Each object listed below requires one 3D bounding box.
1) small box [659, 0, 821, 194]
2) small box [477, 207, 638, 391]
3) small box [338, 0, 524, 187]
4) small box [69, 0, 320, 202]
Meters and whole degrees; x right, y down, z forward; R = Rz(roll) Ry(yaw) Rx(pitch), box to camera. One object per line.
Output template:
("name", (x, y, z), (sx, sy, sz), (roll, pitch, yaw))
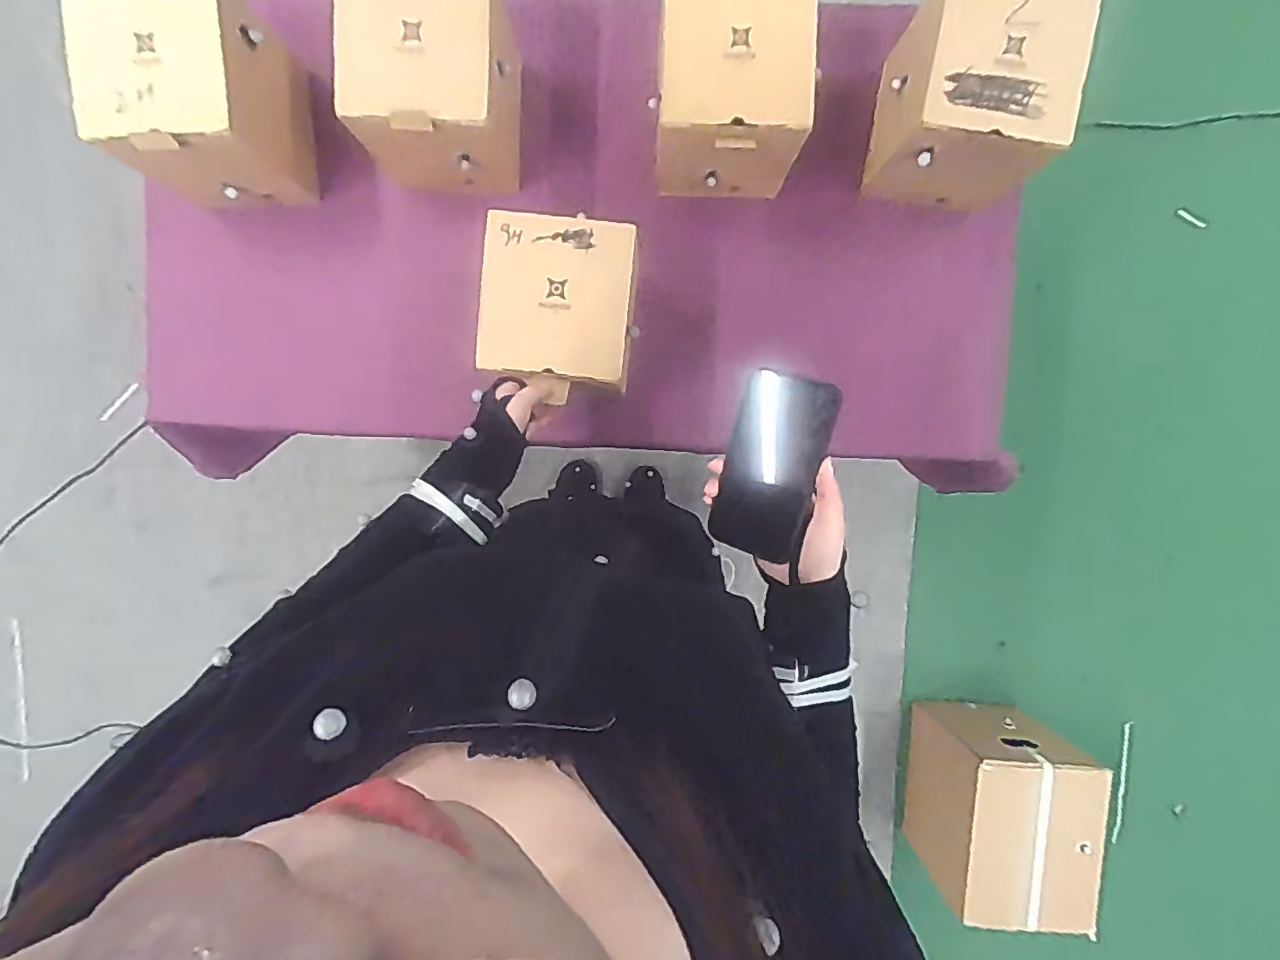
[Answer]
("small box", (0.109, -0.476, 0.655), (0.168, 0.176, 0.179), (1, 95, 0))
("small box", (-0.092, -0.210, 0.675), (0.168, 0.176, 0.179), (6, 95, -1))
("small box", (-0.239, -0.482, 0.656), (0.168, 0.176, 0.179), (3, 94, -1))
("small box", (-0.521, -0.465, 0.656), (0.168, 0.176, 0.179), (-2, 95, 0))
